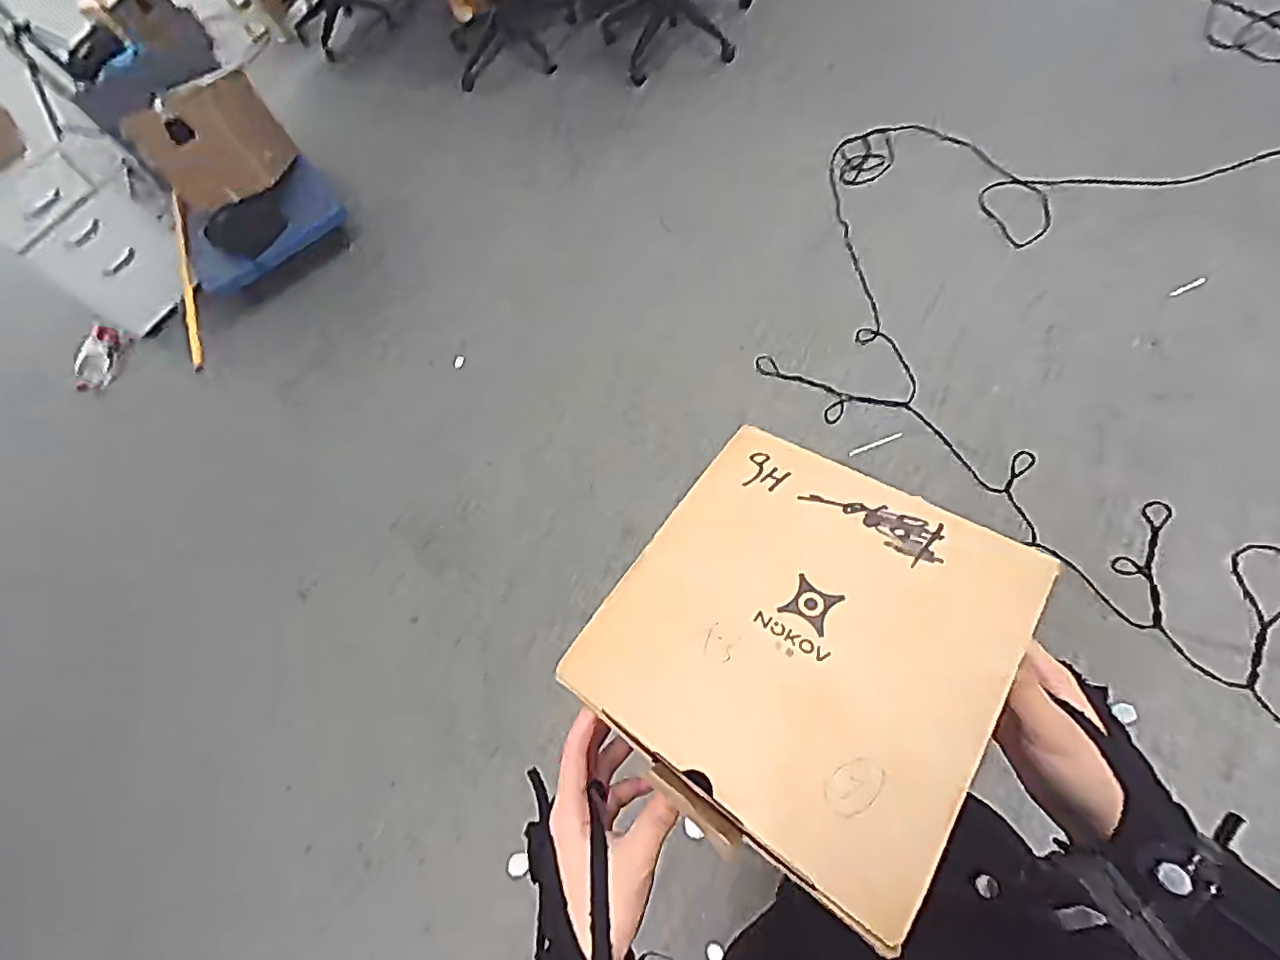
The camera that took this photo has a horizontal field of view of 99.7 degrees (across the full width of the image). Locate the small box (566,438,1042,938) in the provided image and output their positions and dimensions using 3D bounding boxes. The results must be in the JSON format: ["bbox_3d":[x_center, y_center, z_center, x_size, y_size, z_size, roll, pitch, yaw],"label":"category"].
[{"bbox_3d":[0.090,0.114,0.326,0.168,0.176,0.179,29,67,27],"label":"small box"}]
